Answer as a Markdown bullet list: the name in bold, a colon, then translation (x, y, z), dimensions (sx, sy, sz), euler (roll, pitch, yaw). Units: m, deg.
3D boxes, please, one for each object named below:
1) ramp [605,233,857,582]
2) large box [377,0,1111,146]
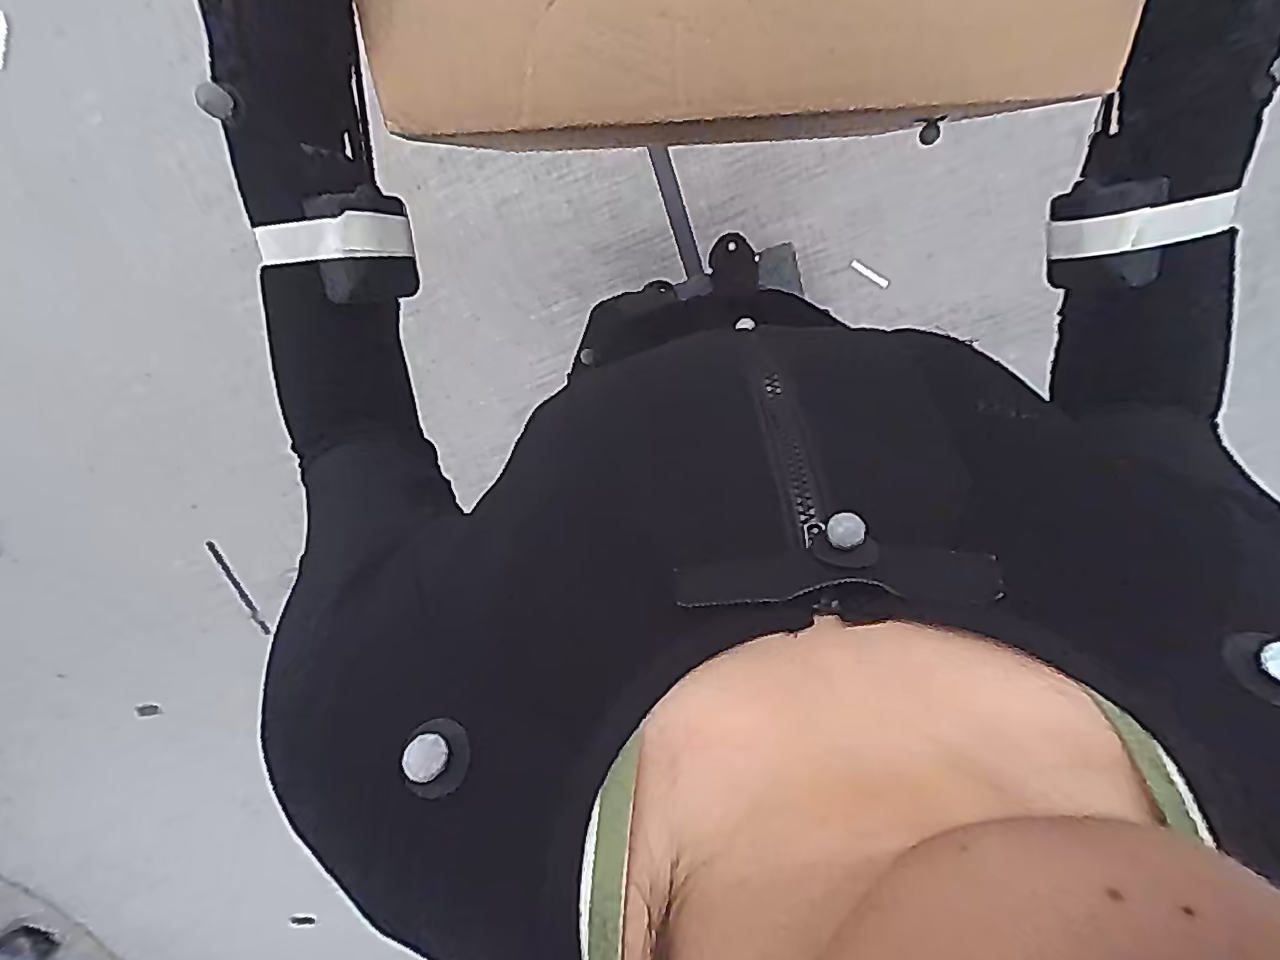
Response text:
- **ramp**: translation (0.311, -0.124, 1.573), dimensions (0.509, 0.206, 0.991), euler (-20, 109, 9)
- **large box**: translation (0.053, -0.419, 0.369), dimensions (0.408, 0.320, 0.320), euler (-2, 120, 2)
